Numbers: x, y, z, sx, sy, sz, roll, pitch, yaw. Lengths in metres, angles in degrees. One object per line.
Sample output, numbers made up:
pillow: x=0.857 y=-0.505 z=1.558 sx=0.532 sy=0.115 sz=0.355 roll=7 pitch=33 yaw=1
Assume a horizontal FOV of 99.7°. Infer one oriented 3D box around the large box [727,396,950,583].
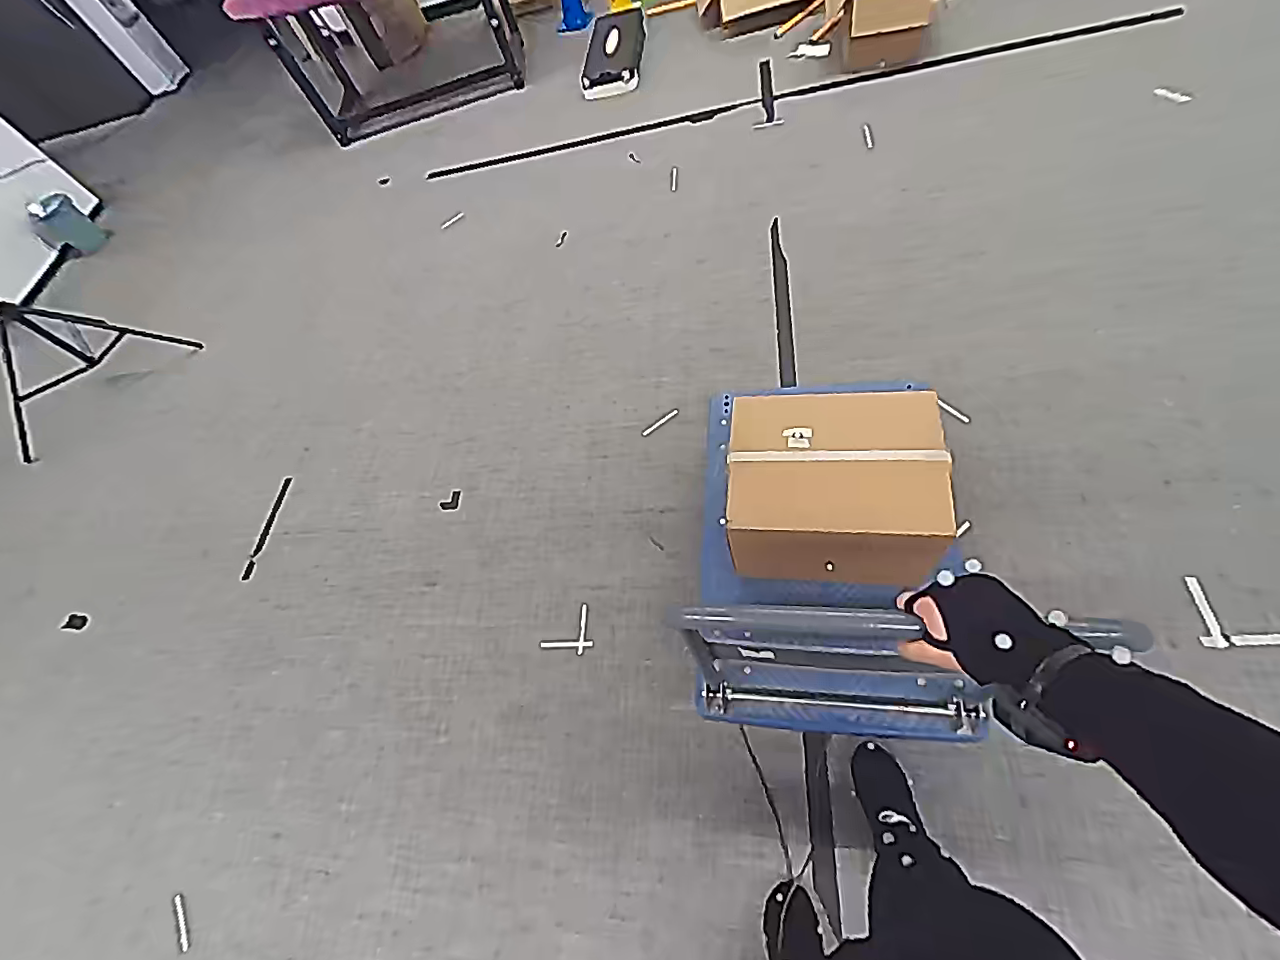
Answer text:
large box: x=0.417 y=0.035 z=1.206 sx=0.408 sy=0.320 sz=0.320 roll=0 pitch=62 yaw=16
